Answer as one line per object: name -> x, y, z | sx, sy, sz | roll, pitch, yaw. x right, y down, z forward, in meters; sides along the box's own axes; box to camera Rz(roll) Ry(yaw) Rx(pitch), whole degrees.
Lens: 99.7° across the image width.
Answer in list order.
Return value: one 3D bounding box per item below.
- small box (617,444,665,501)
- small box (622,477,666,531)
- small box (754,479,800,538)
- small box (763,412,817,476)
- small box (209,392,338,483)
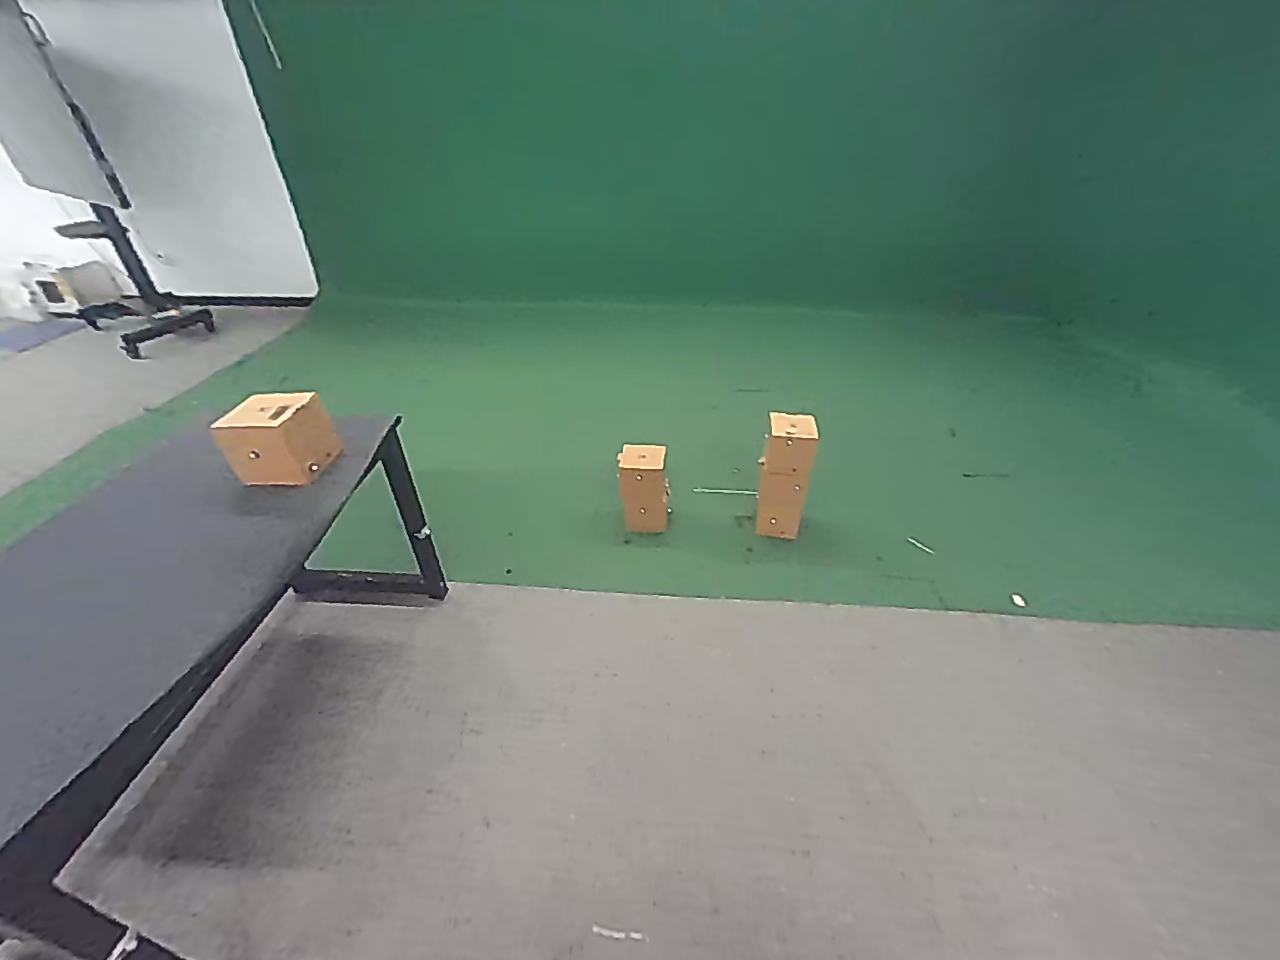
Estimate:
small box -> 0.006, -0.031, 2.193 | 0.179, 0.176, 0.168 | 4, 37, 5
small box -> 0.019, 0.100, 2.288 | 0.179, 0.176, 0.168 | 2, 37, 3
small box -> 0.572, 0.121, 2.263 | 0.168, 0.176, 0.179 | 7, 37, 10
small box -> 0.565, -0.139, 2.061 | 0.168, 0.176, 0.179 | 6, 36, 6
small box -> -0.887, -0.103, 1.333 | 0.179, 0.176, 0.168 | 0, 37, 5
